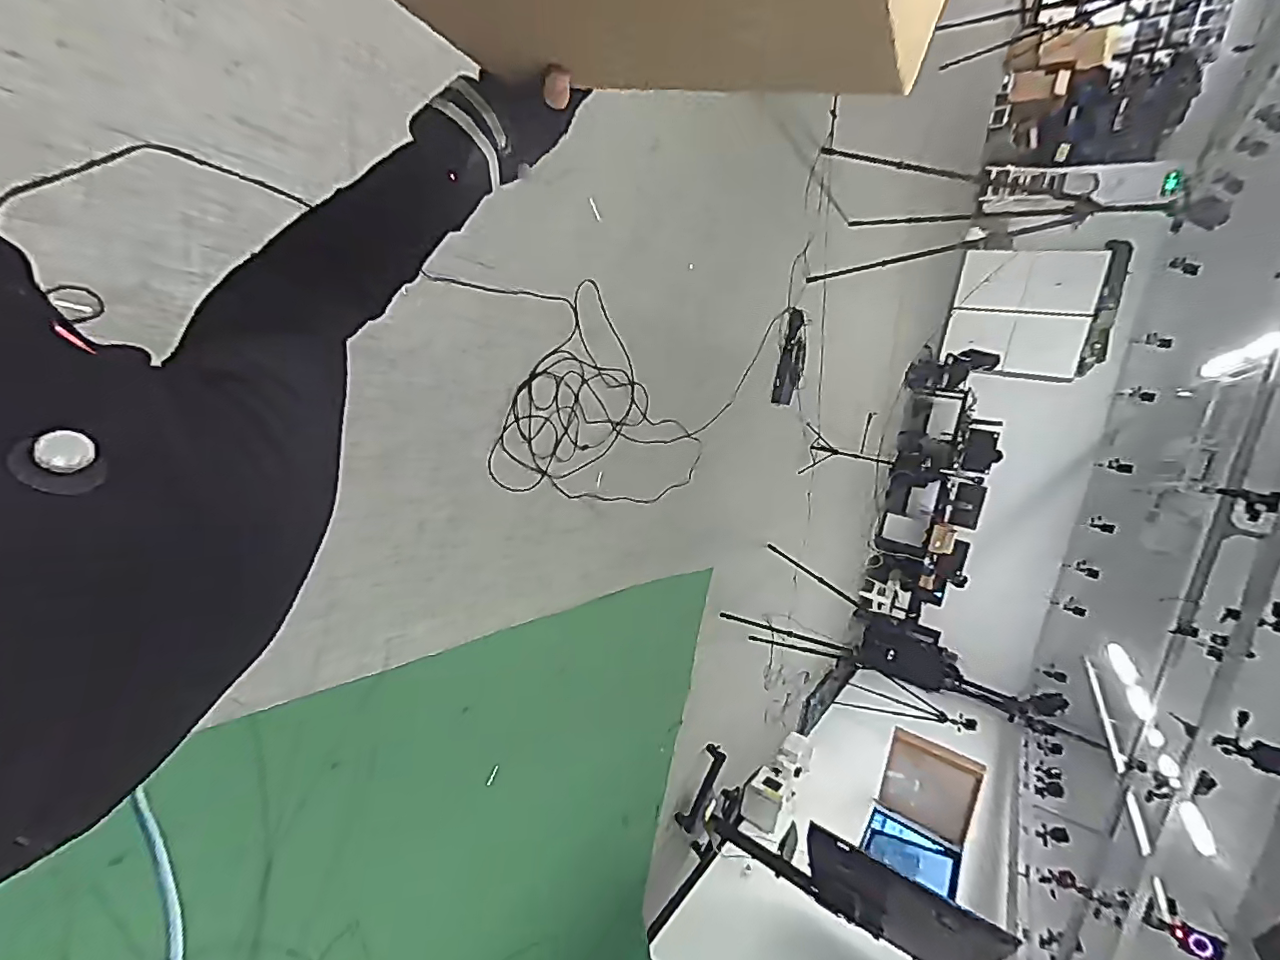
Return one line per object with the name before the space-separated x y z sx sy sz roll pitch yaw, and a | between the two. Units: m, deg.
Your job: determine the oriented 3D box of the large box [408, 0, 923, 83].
large box | -0.040 -0.400 0.175 0.408 0.320 0.320 -13 121 -60
